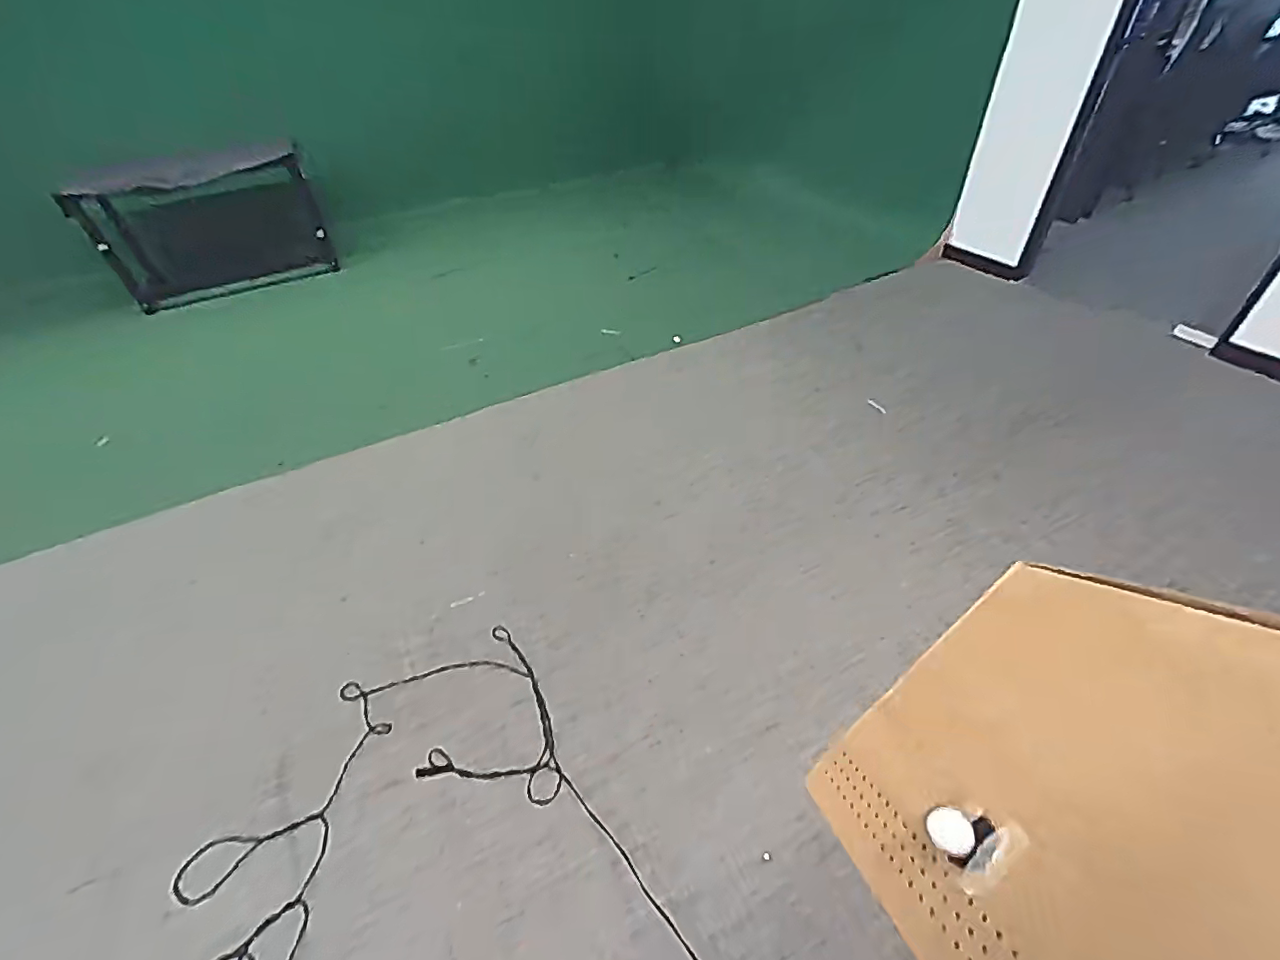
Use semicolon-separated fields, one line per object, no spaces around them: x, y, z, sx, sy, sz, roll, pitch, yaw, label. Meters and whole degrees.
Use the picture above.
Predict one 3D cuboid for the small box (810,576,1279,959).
0.206;0.171;0.216;0.176;0.168;0.179;-43;7;-2;small box
